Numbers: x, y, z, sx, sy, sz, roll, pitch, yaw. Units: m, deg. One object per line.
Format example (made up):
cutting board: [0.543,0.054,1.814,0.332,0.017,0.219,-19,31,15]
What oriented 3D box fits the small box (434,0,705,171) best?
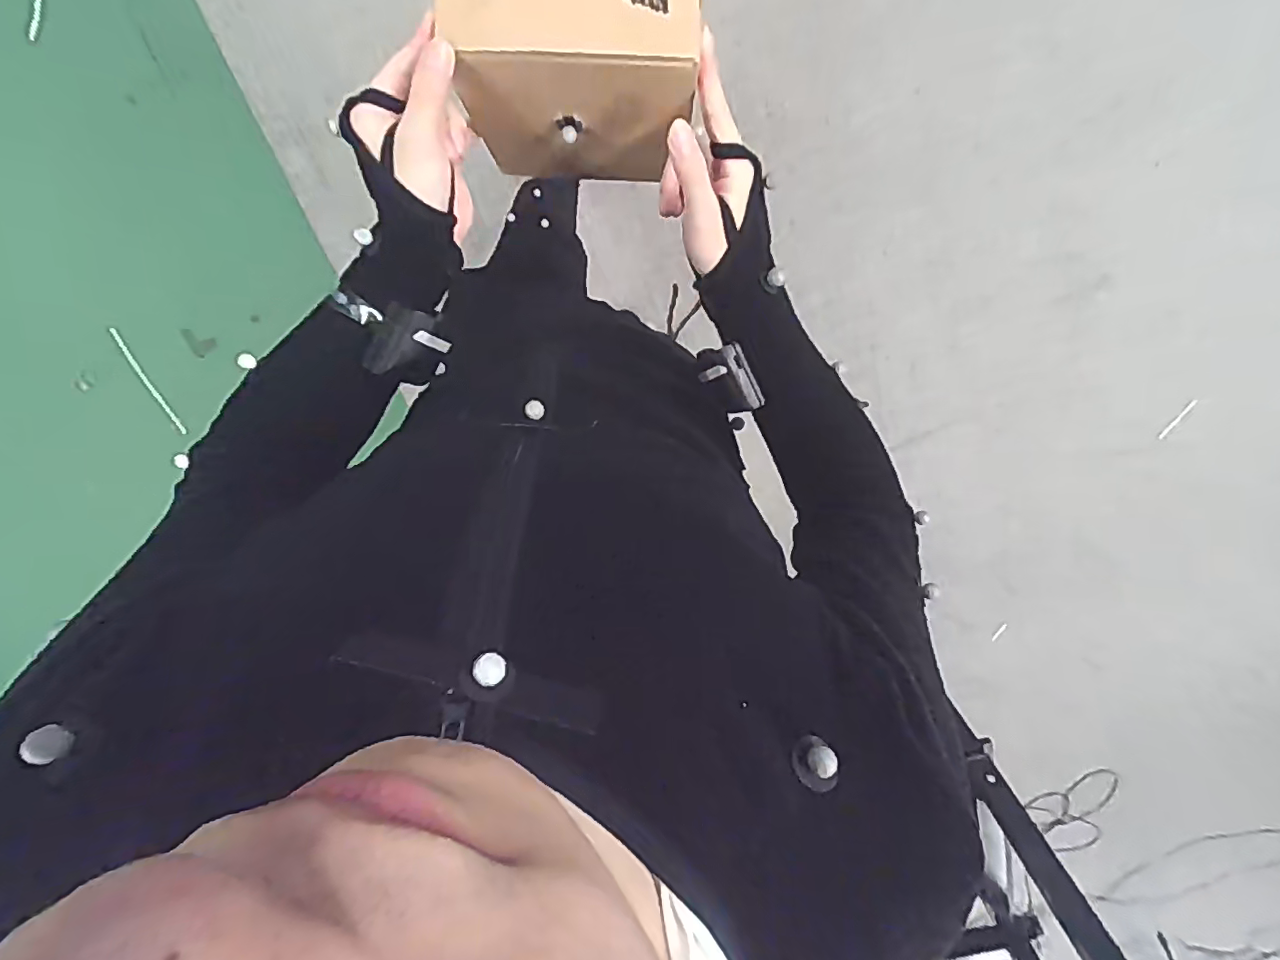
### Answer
small box: [-0.041,-0.367,0.422,0.179,0.176,0.168,3,94,1]
